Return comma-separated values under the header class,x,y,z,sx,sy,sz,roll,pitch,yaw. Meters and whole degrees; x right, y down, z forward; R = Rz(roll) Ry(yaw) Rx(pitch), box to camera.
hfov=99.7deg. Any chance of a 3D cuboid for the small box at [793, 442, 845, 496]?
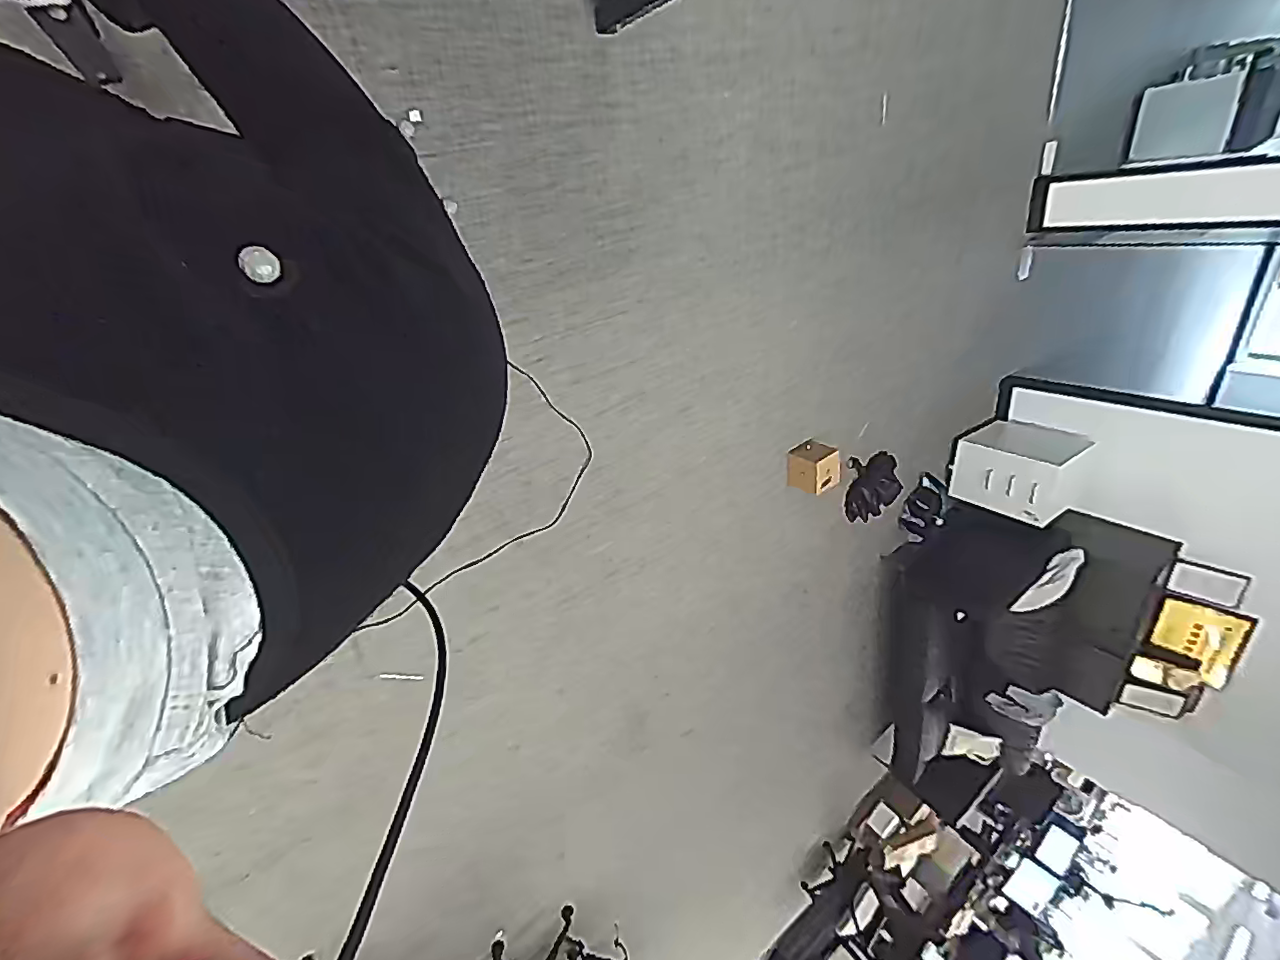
class,x,y,z,sx,sy,sz,roll,pitch,yaw
small box,0.831,-0.055,2.519,0.168,0.176,0.179,-27,121,-26
